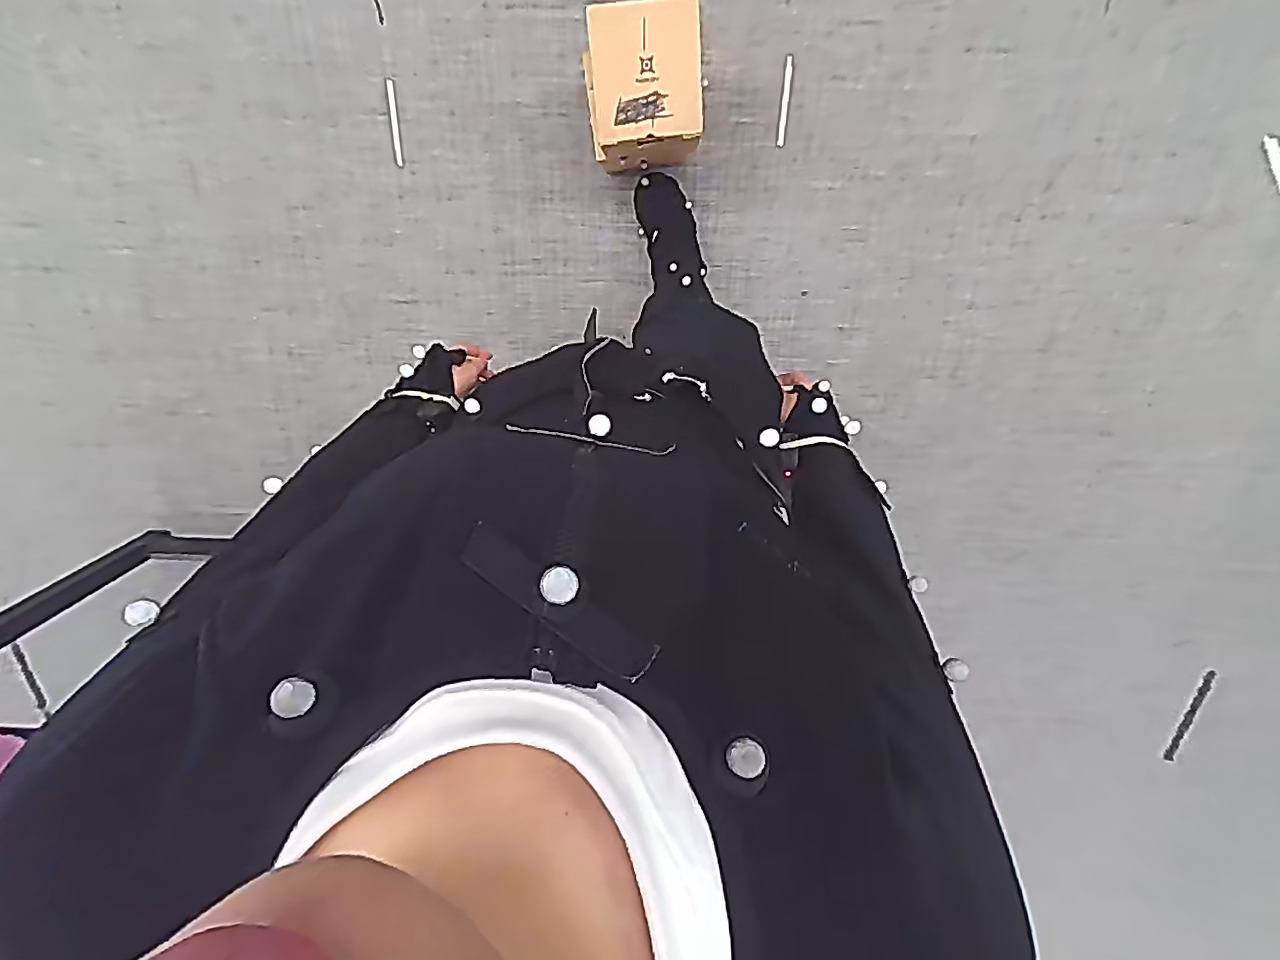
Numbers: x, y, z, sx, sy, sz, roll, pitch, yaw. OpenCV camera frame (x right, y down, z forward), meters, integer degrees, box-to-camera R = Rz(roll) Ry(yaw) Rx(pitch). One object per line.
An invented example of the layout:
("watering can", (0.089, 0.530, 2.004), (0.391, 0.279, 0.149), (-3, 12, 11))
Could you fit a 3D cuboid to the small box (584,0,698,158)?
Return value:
("small box", (0.008, -0.637, 0.880), (0.168, 0.176, 0.179), (-3, 112, 3))
